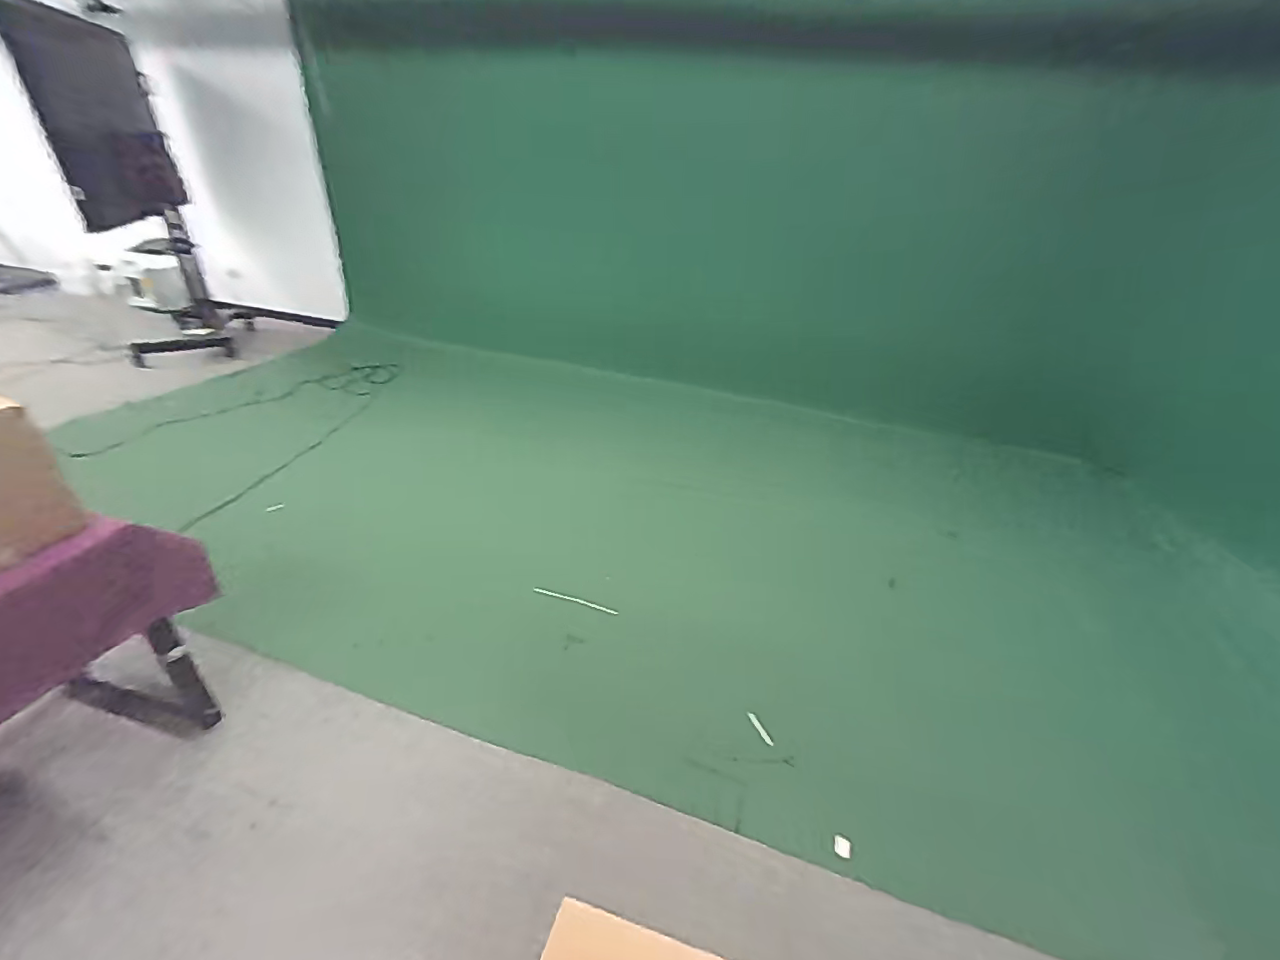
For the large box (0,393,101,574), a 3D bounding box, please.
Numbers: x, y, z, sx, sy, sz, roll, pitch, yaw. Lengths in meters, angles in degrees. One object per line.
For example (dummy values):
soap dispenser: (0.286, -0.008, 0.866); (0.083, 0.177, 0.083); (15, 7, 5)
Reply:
large box: (-1.494, -0.002, 1.130); (0.408, 0.320, 0.320); (14, 32, 13)
